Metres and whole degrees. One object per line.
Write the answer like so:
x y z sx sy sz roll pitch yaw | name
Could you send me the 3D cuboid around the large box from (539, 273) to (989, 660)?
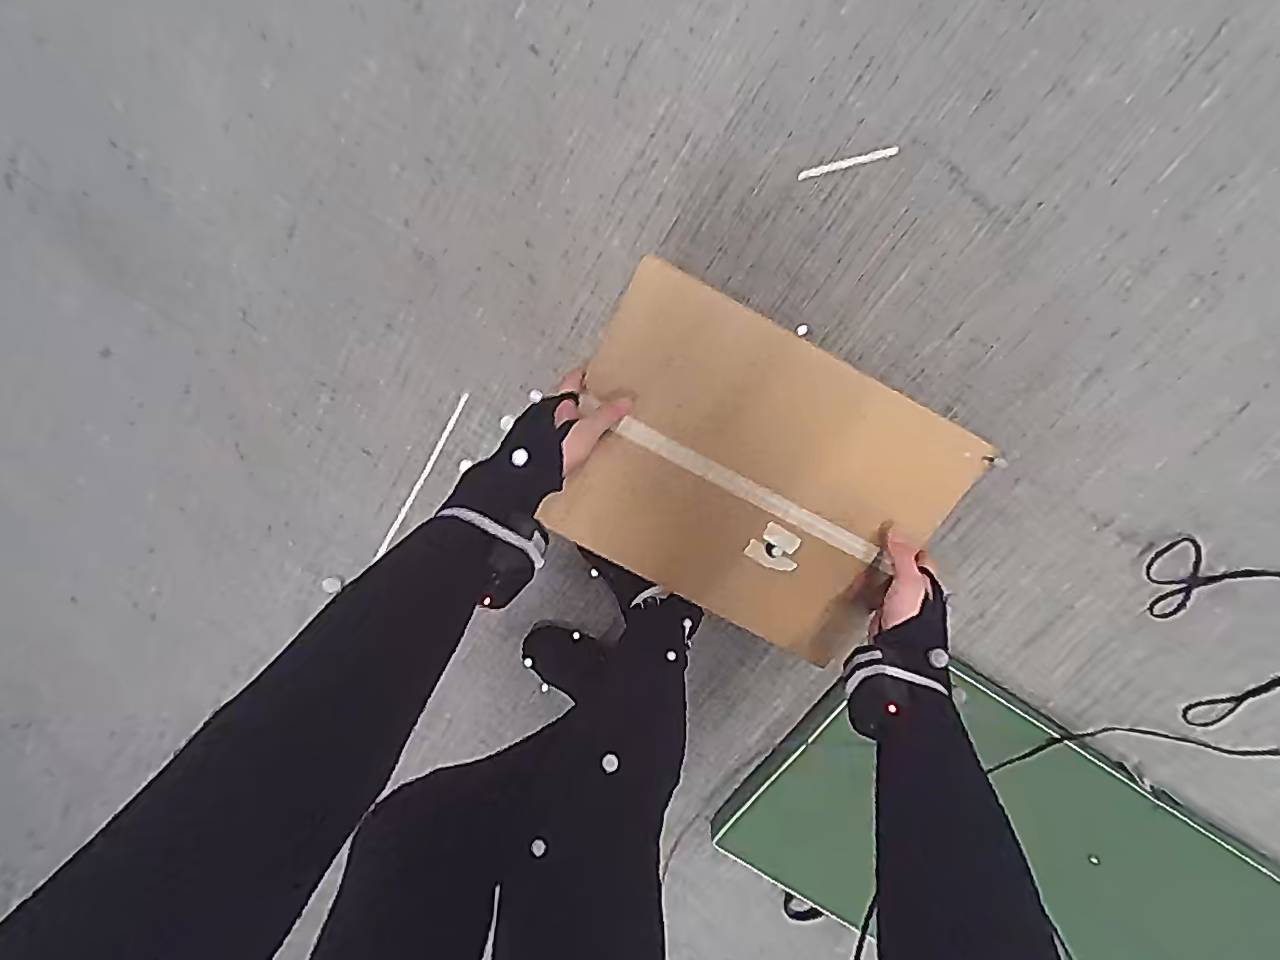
0.134 -0.040 0.738 0.408 0.320 0.320 28 110 -4 | large box
